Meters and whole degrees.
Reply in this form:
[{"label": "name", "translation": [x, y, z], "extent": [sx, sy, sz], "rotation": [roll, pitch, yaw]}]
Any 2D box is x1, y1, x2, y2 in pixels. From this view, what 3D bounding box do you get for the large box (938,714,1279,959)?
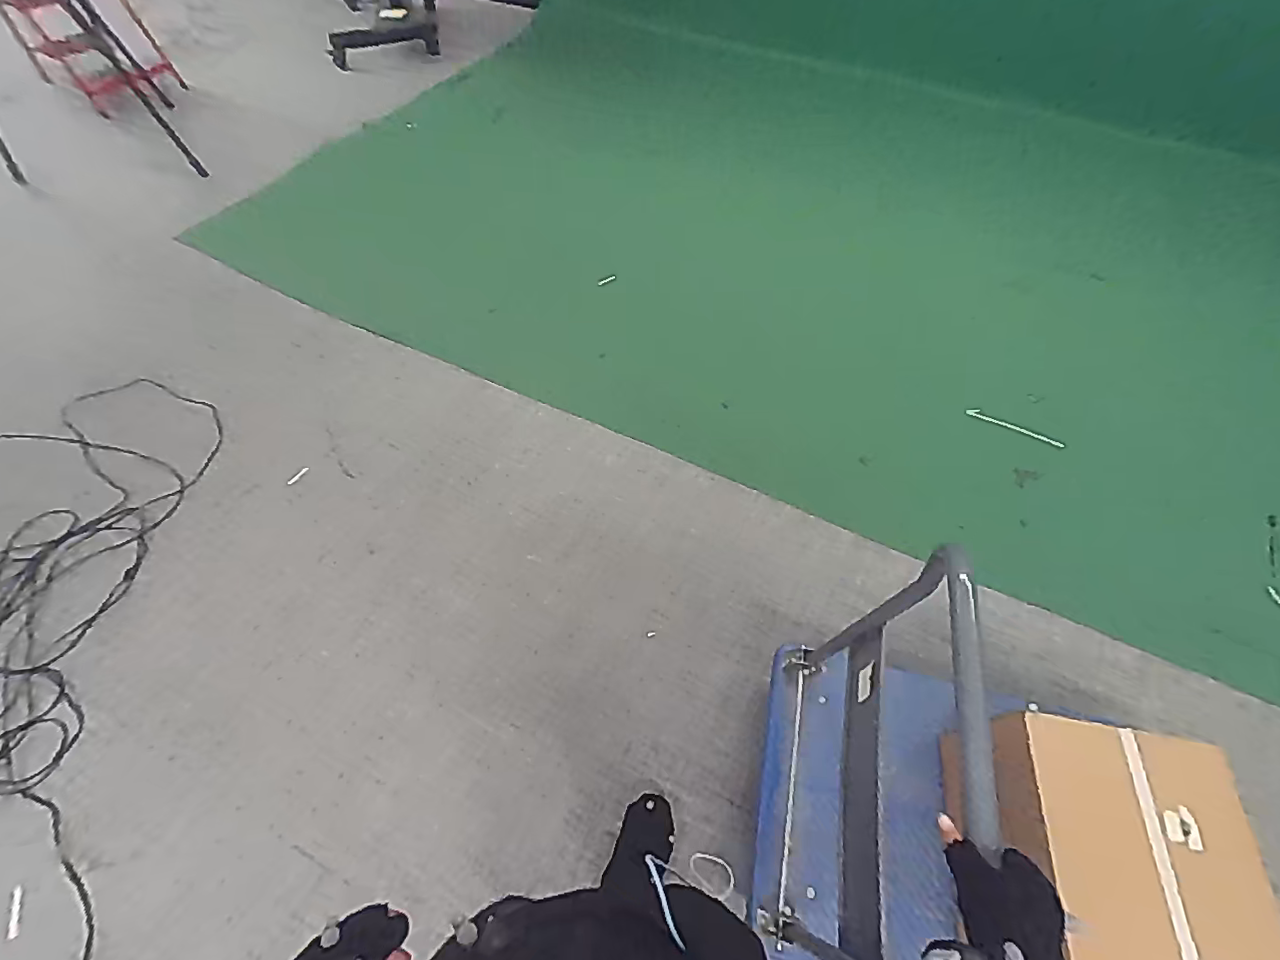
[{"label": "large box", "translation": [0.751, 0.664, 0.917], "extent": [0.320, 0.320, 0.408], "rotation": [10, 56, 4]}]
